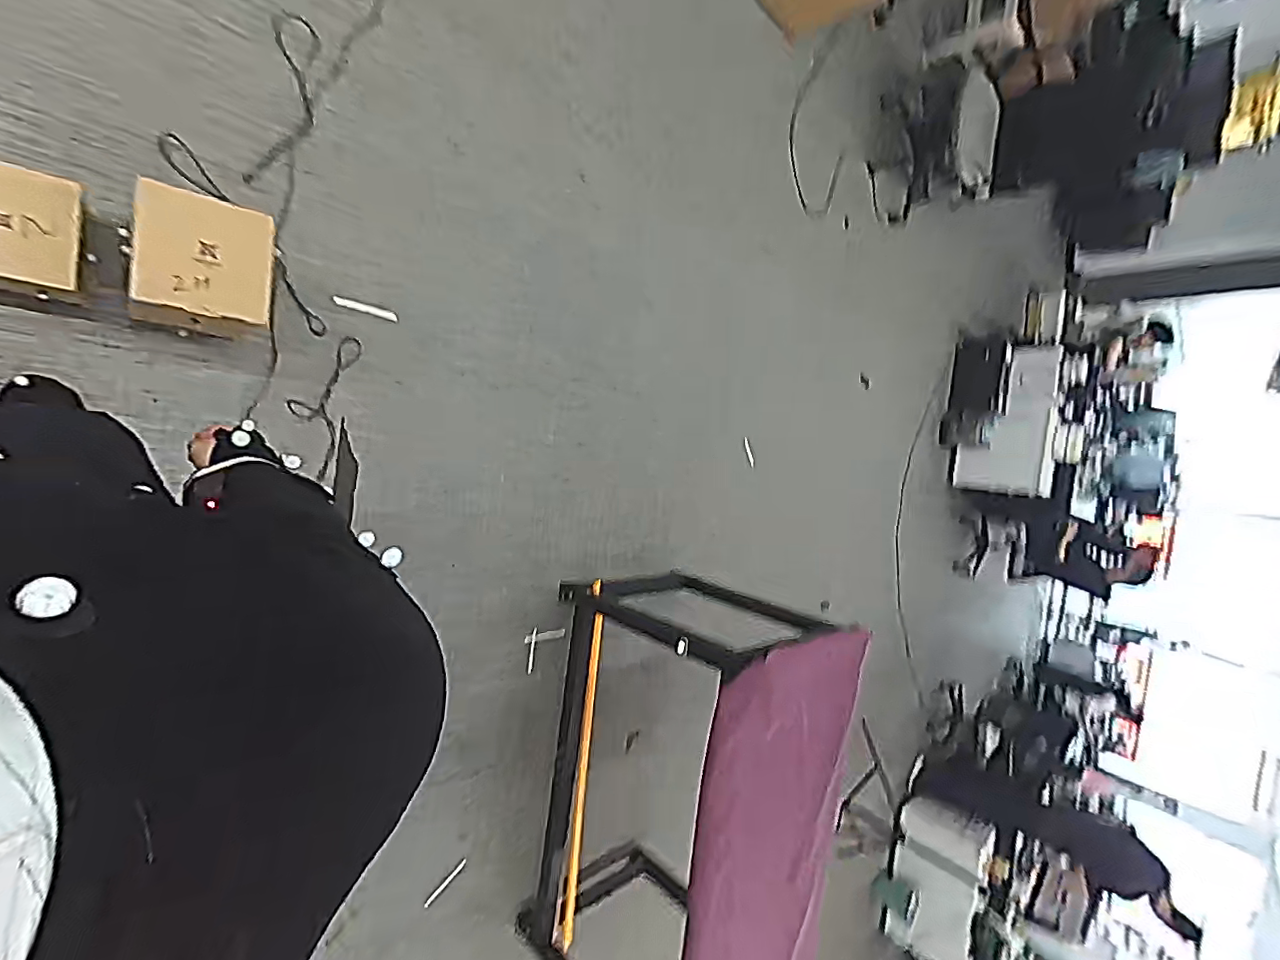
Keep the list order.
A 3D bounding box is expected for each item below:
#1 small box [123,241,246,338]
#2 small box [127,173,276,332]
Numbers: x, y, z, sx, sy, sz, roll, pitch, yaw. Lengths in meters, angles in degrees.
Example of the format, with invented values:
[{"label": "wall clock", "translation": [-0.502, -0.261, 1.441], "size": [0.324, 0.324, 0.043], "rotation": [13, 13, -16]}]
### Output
[{"label": "small box", "translation": [-0.821, -0.368, 0.986], "size": [0.168, 0.176, 0.179], "rotation": [6, 93, -44]}, {"label": "small box", "translation": [-0.707, -0.348, 0.869], "size": [0.168, 0.176, 0.179], "rotation": [4, 94, -44]}]
